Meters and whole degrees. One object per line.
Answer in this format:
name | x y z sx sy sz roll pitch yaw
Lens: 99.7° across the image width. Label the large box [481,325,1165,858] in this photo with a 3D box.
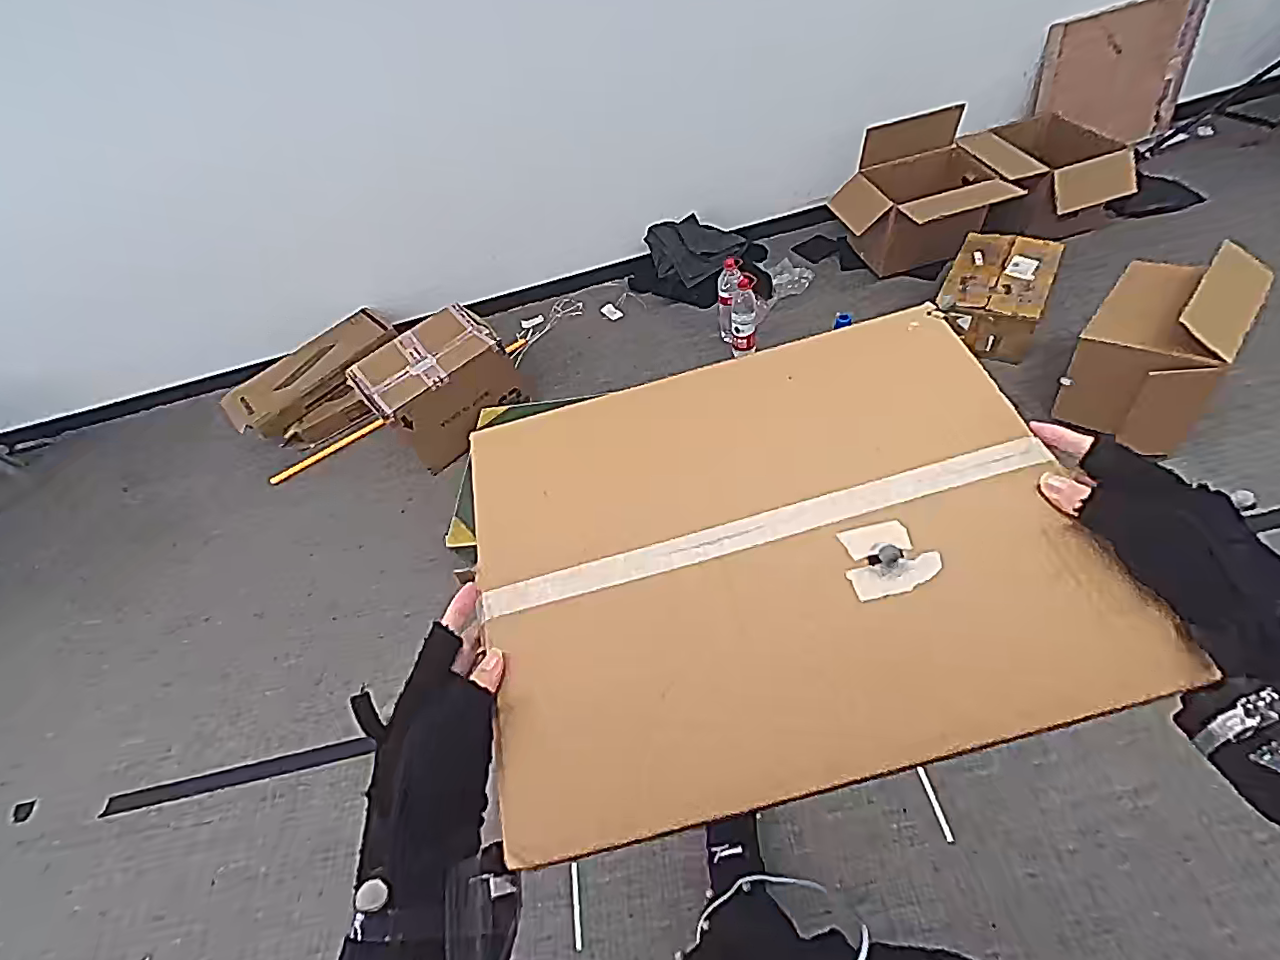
large box | 0.106 0.117 0.520 0.408 0.320 0.320 -15 59 0
